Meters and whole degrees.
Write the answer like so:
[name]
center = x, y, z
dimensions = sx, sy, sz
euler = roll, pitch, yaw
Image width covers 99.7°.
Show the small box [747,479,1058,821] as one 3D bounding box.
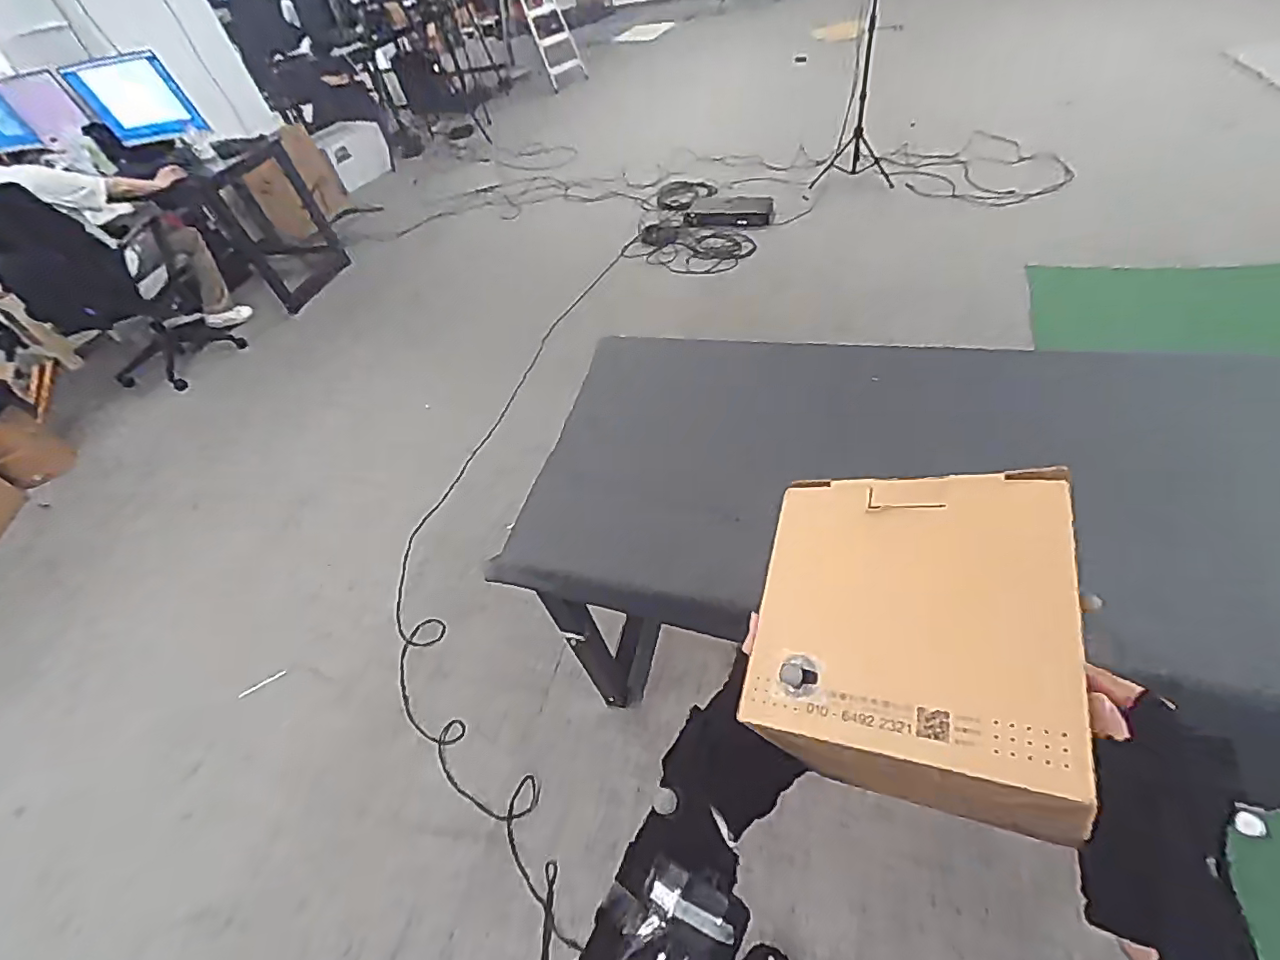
[small box]
center = 0.189, 0.118, 0.384
dimensions = 0.168, 0.179, 0.176
euler = -2, 55, 37
